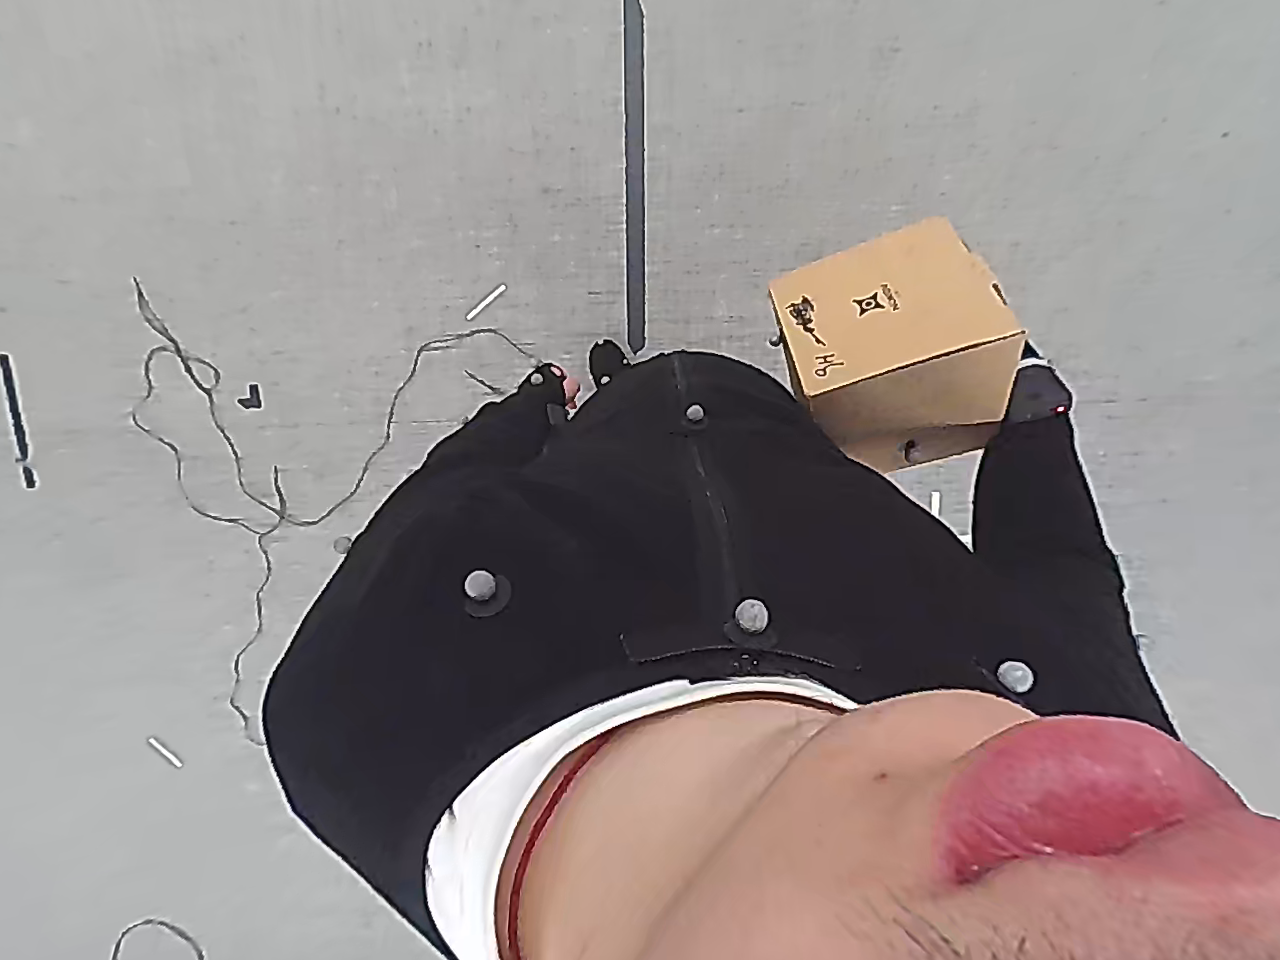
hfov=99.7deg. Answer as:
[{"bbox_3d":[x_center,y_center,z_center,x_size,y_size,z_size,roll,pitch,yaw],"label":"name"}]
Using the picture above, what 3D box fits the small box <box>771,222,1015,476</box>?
[{"bbox_3d":[0.252,-0.128,0.575,0.179,0.168,0.176,-16,144,15],"label":"small box"}]
